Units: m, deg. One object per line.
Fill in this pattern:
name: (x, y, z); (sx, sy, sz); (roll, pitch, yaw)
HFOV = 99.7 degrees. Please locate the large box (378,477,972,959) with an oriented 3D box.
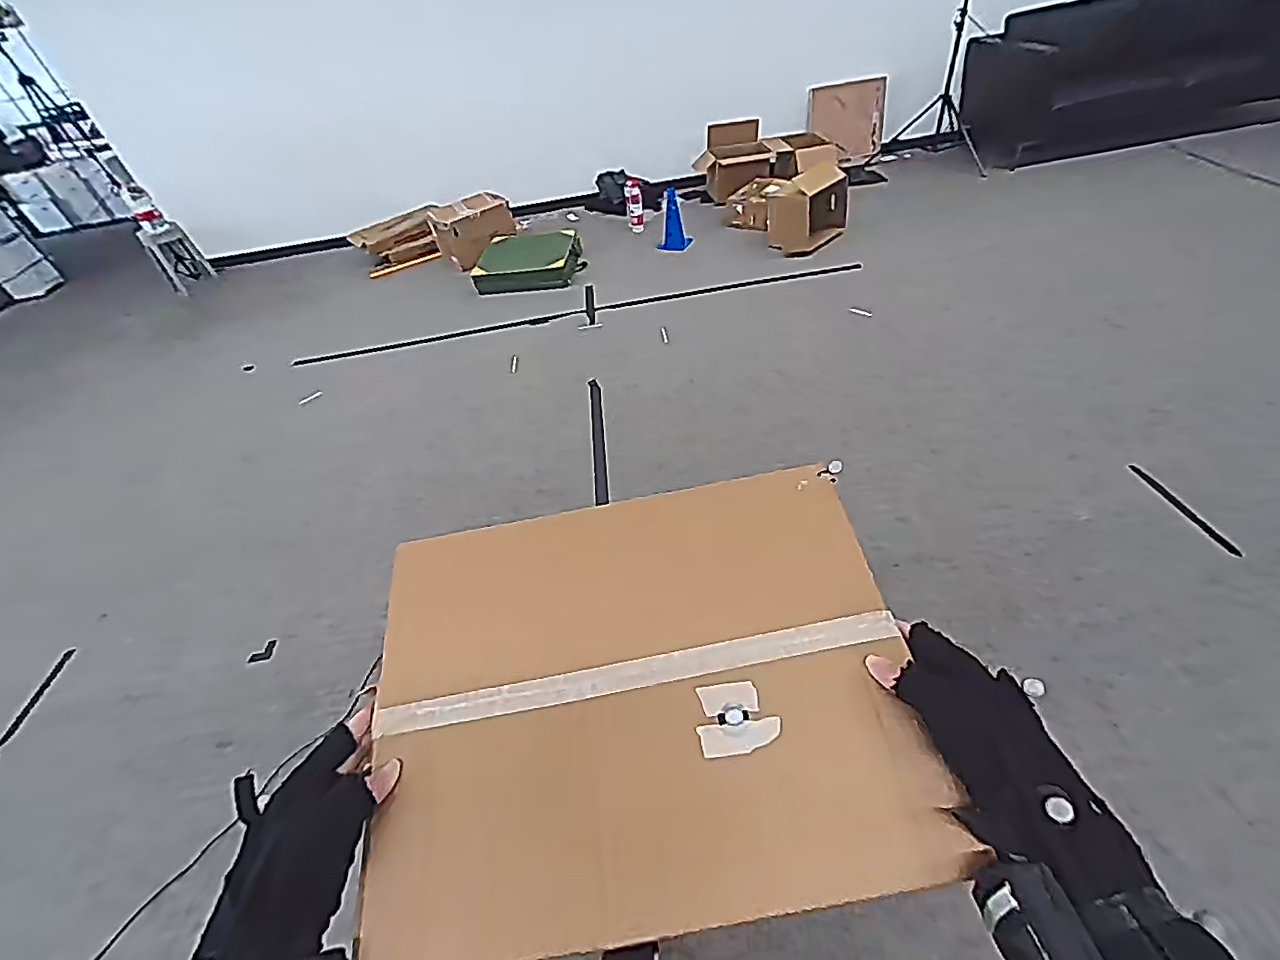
large box: (0.015, 0.242, 0.554); (0.408, 0.320, 0.320); (-11, 56, 0)
